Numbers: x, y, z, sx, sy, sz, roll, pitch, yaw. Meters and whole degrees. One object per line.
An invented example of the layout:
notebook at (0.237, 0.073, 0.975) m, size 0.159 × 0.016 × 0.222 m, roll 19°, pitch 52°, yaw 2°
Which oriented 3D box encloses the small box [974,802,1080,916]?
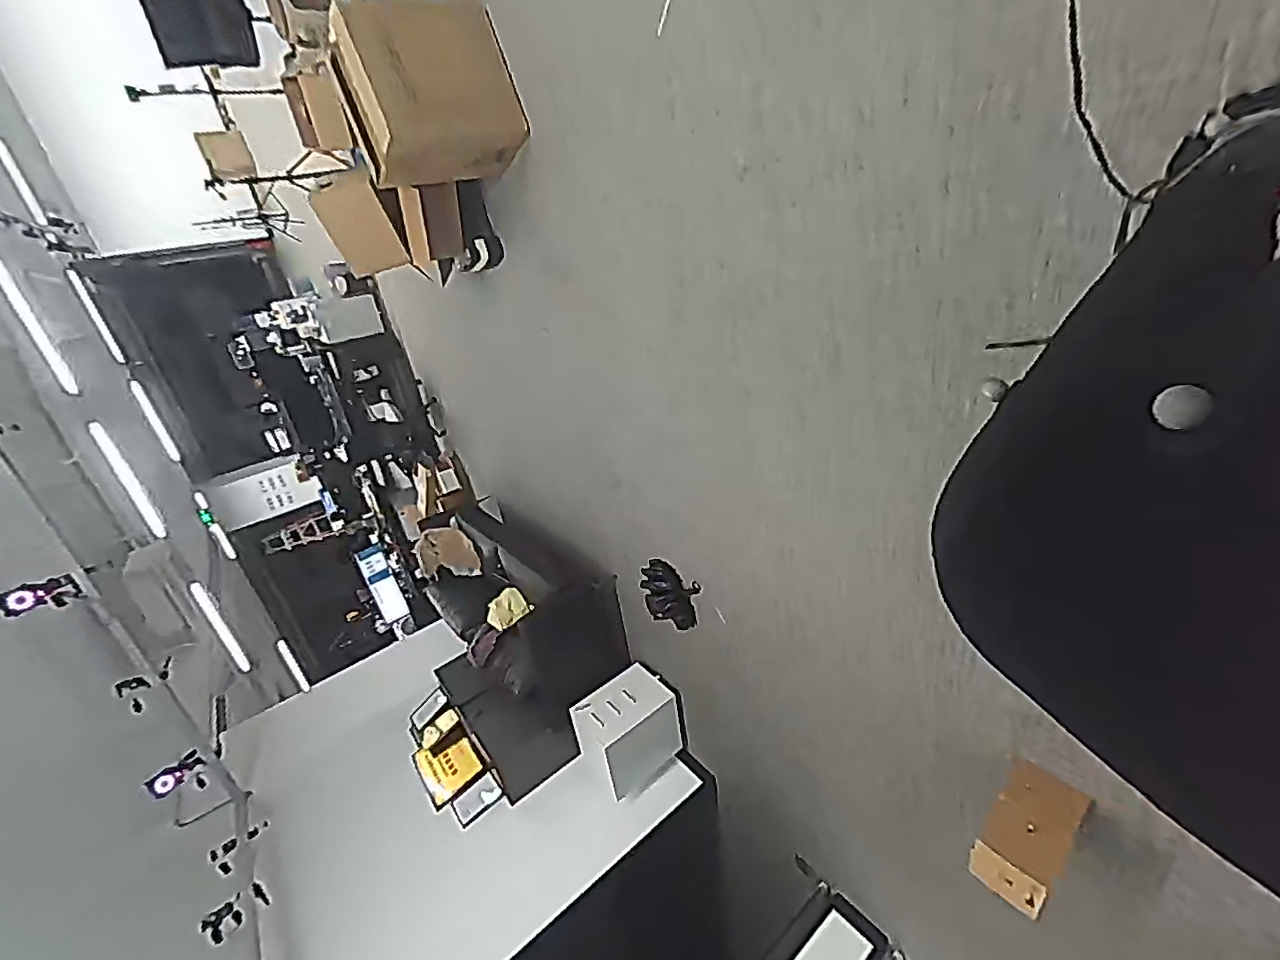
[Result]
small box at (1.079, 1.043, 1.511) m, size 0.179 × 0.176 × 0.168 m, roll 27°, pitch 135°, yaw 47°
